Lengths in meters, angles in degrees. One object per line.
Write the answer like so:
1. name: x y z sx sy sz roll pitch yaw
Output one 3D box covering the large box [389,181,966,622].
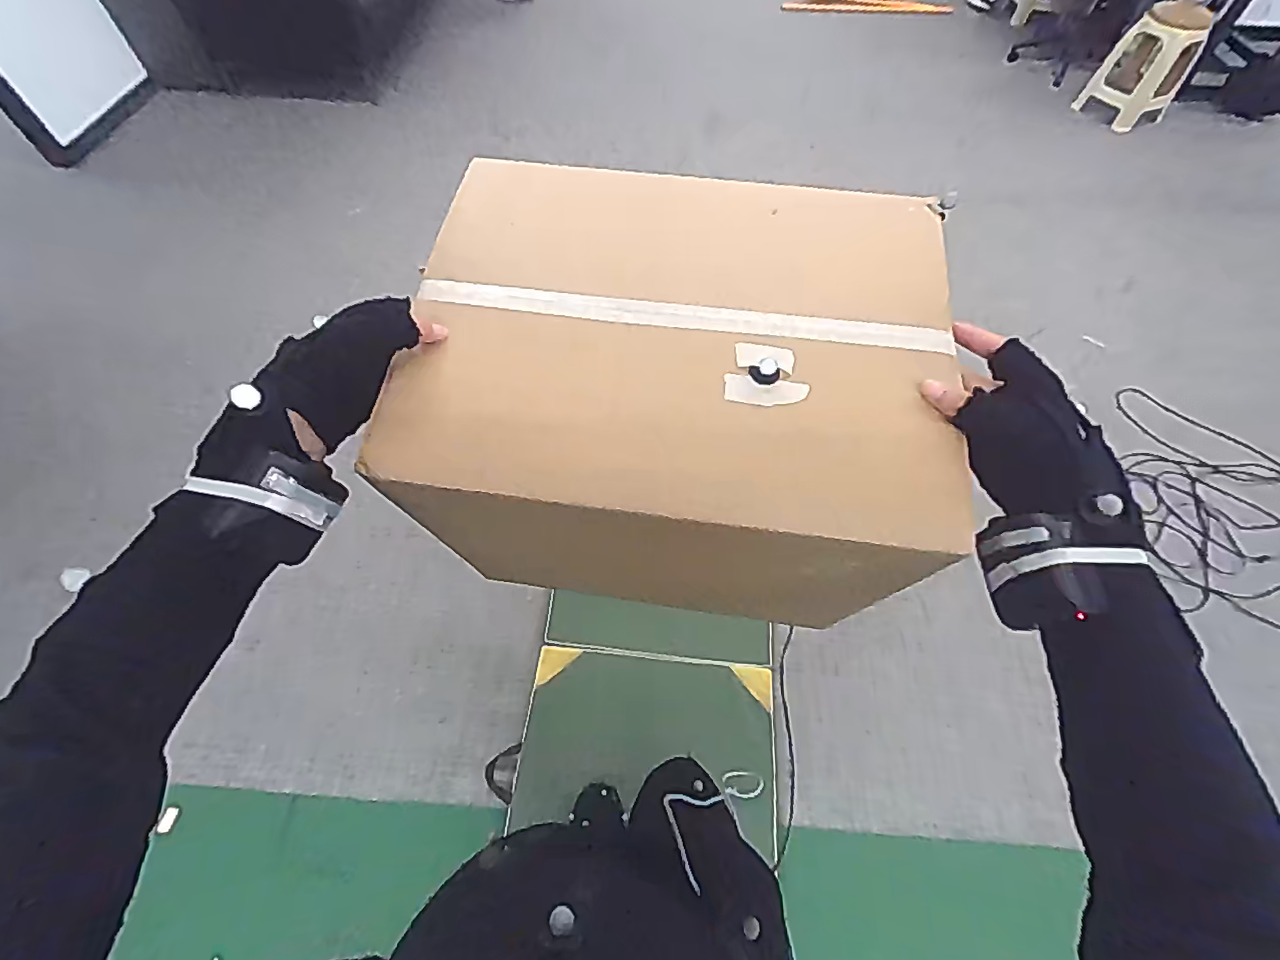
1. large box: 0.037 -0.055 0.561 0.408 0.320 0.320 8 67 3
